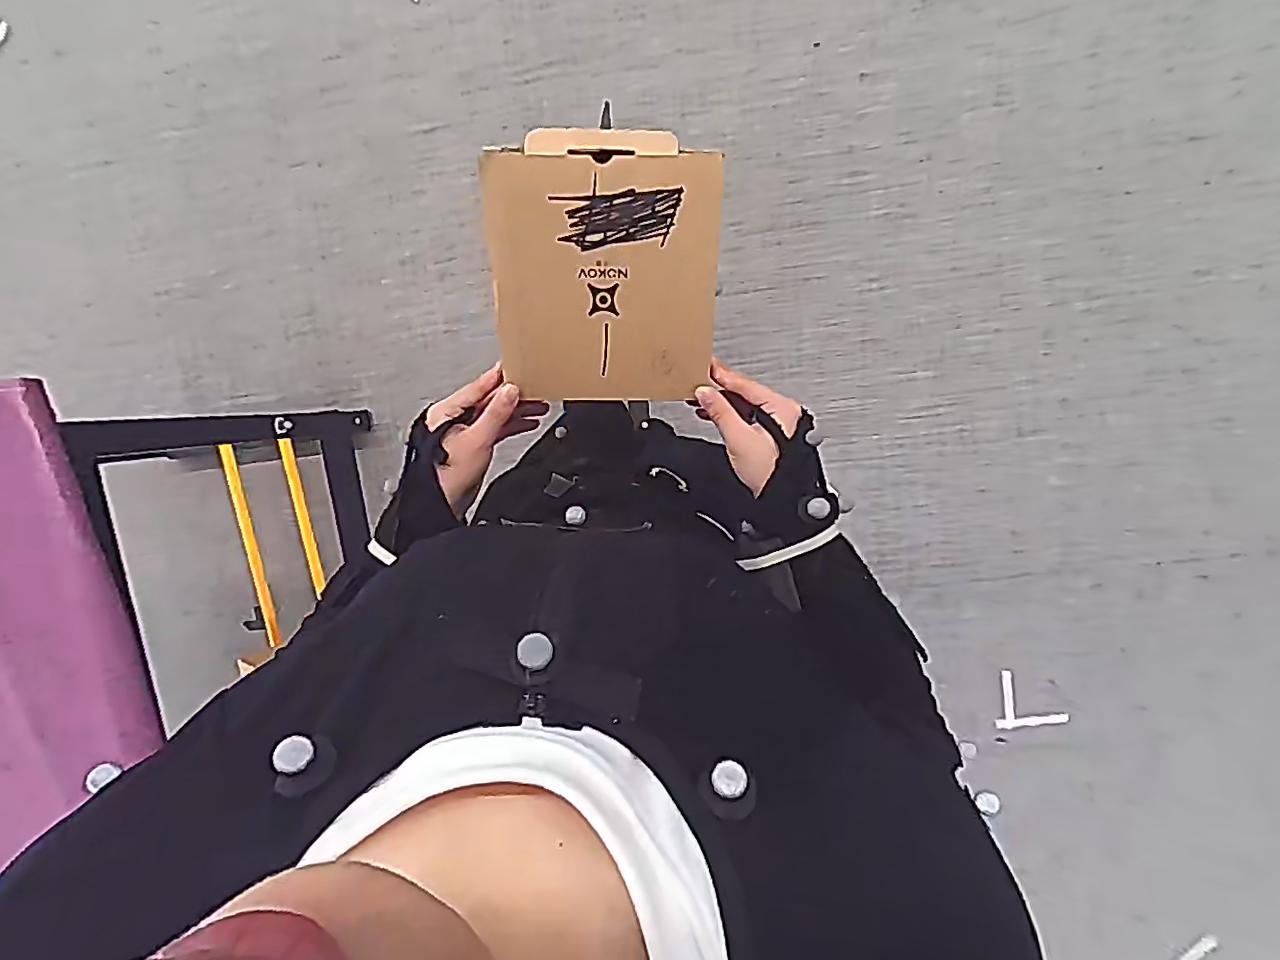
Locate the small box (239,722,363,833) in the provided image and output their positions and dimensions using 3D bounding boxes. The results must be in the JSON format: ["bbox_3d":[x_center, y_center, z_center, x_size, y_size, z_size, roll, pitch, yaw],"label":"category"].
[{"bbox_3d":[-0.820,0.721,1.323,0.179,0.176,0.168,-10,97,4],"label":"small box"}]

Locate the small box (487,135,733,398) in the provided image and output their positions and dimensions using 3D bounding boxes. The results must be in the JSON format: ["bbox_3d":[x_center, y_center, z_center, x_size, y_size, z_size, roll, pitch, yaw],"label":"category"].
[{"bbox_3d":[-0.023,-0.178,0.460,0.168,0.176,0.179,0,116,-1],"label":"small box"}]
